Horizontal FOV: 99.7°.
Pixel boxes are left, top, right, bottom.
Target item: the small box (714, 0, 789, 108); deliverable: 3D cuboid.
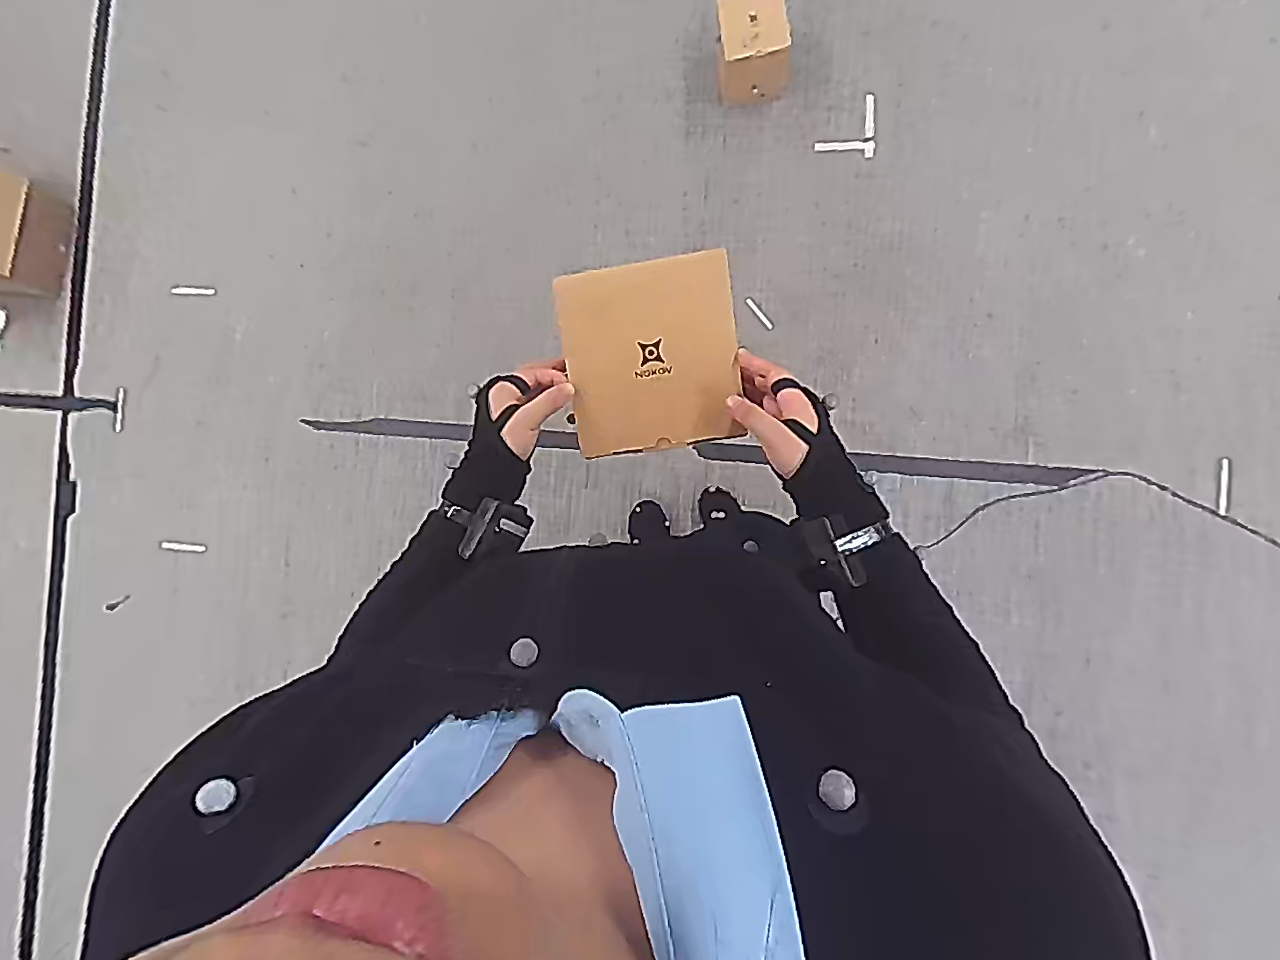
[{"bbox_3d":[0.288,-1.139,1.432,0.168,0.176,0.179,-8,87,7],"label":"small box"}]
